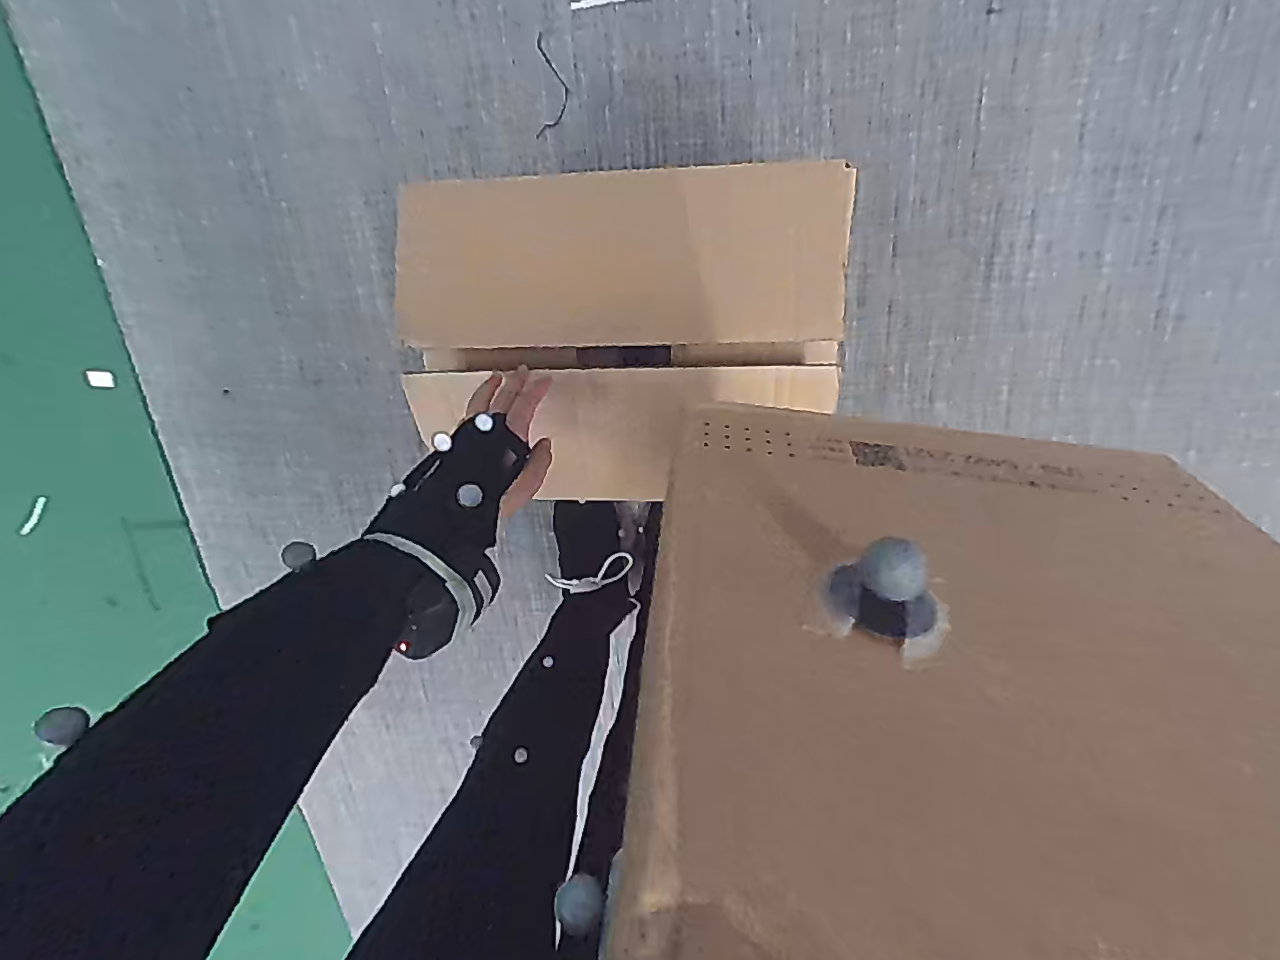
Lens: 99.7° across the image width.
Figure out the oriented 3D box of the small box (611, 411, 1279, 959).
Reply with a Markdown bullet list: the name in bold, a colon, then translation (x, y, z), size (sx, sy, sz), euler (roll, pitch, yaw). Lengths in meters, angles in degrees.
- **small box**: translation (0.081, 0.096, 0.166), size (0.168, 0.176, 0.179), euler (8, 125, 4)
